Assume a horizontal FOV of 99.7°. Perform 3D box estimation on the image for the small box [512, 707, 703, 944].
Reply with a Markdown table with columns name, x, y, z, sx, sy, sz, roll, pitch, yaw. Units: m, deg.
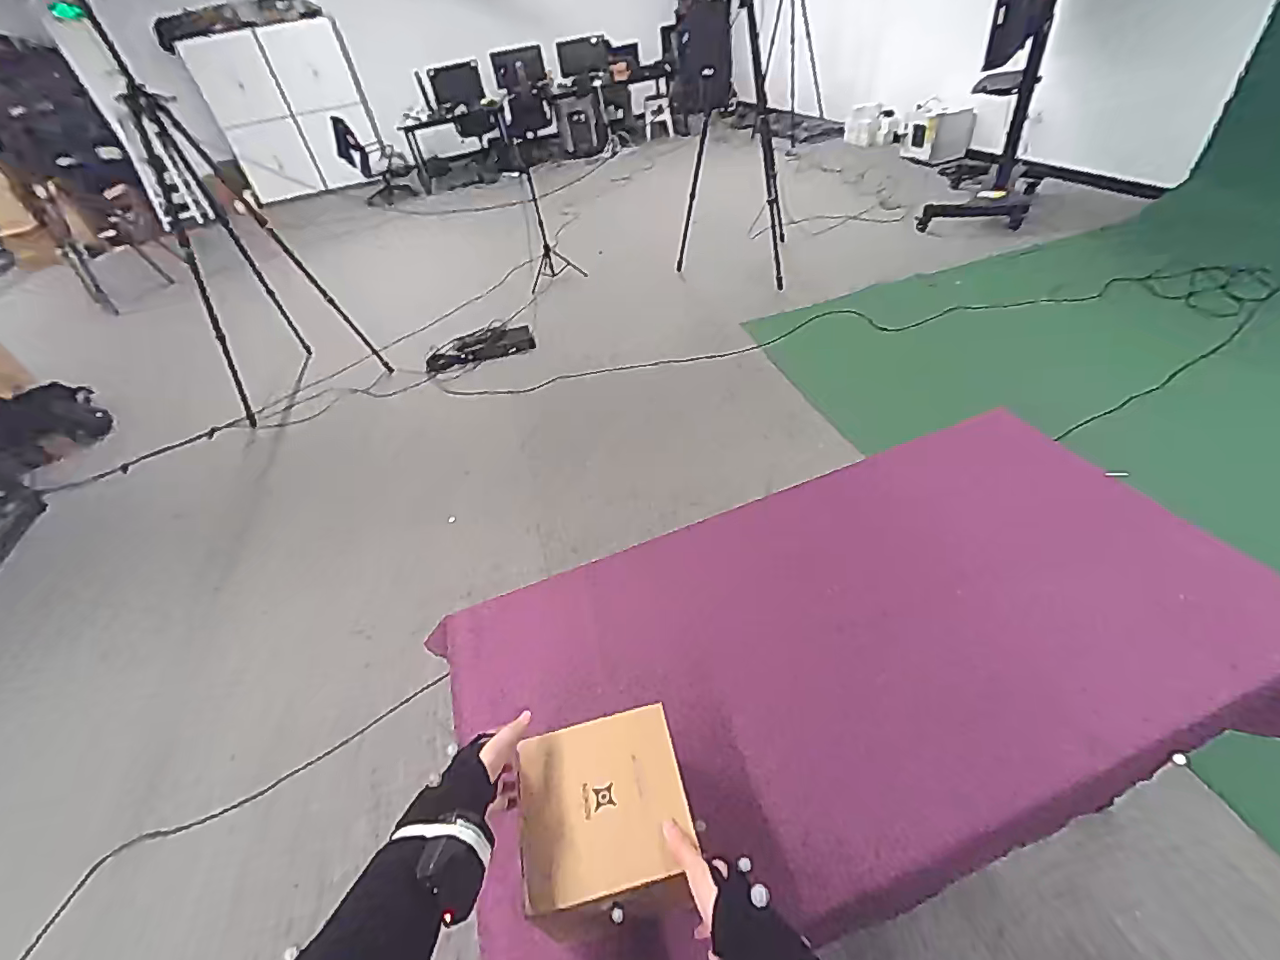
| name | x | y | z | sx | sy | sz | roll | pitch | yaw |
| --- | --- | --- | --- | --- | --- | --- | --- | --- | --- |
| small box | -0.036 | 0.394 | 0.616 | 0.179 | 0.176 | 0.168 | -14 | 42 | -4 |
